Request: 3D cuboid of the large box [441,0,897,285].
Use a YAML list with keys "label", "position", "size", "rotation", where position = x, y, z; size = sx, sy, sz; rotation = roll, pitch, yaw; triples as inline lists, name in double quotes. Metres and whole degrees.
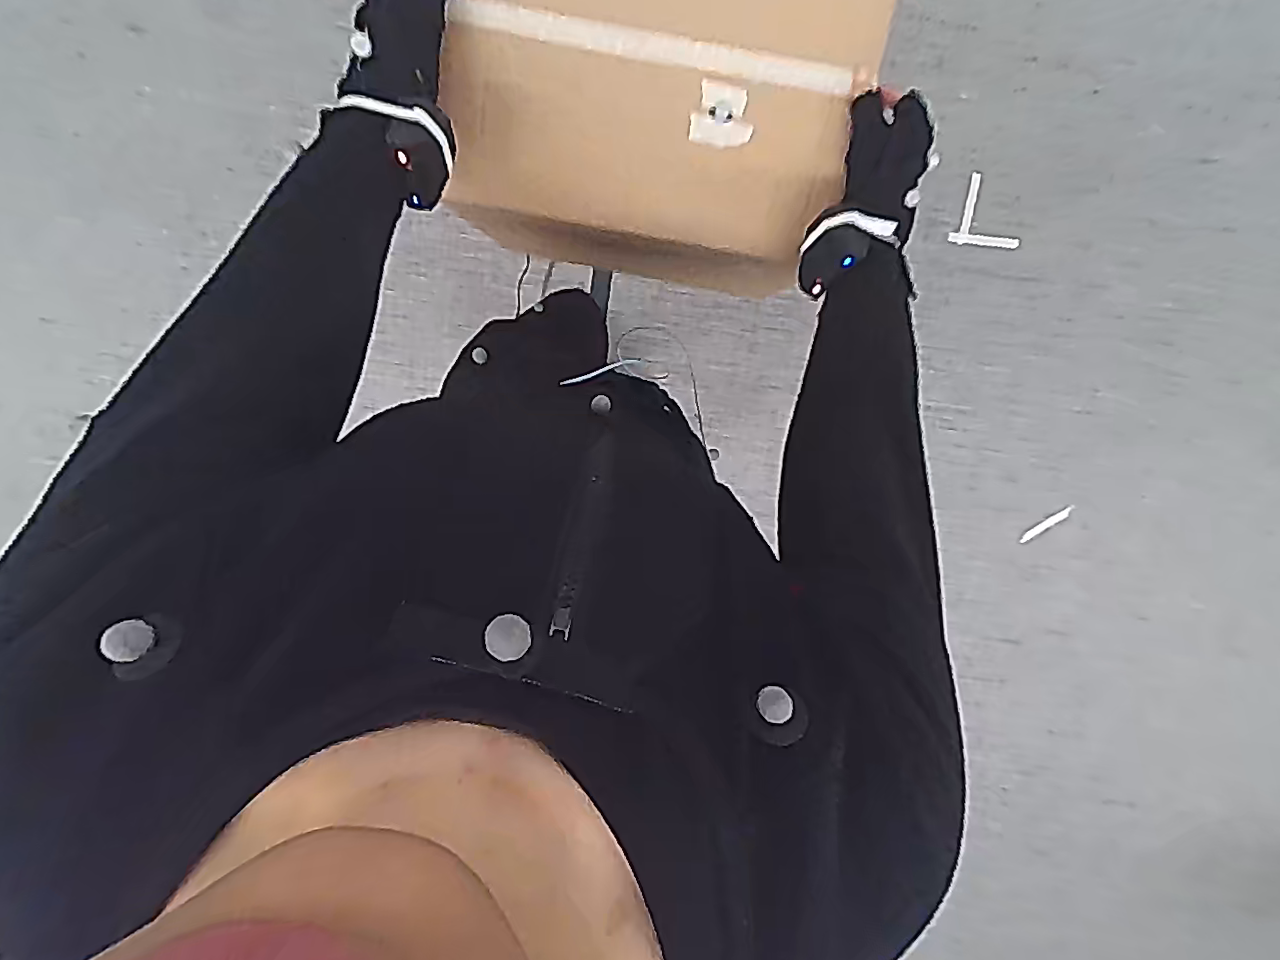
- label: "large box"
  position: [0.024, -0.437, 0.639]
  size: [0.408, 0.320, 0.320]
  rotation: [10, 104, -2]
